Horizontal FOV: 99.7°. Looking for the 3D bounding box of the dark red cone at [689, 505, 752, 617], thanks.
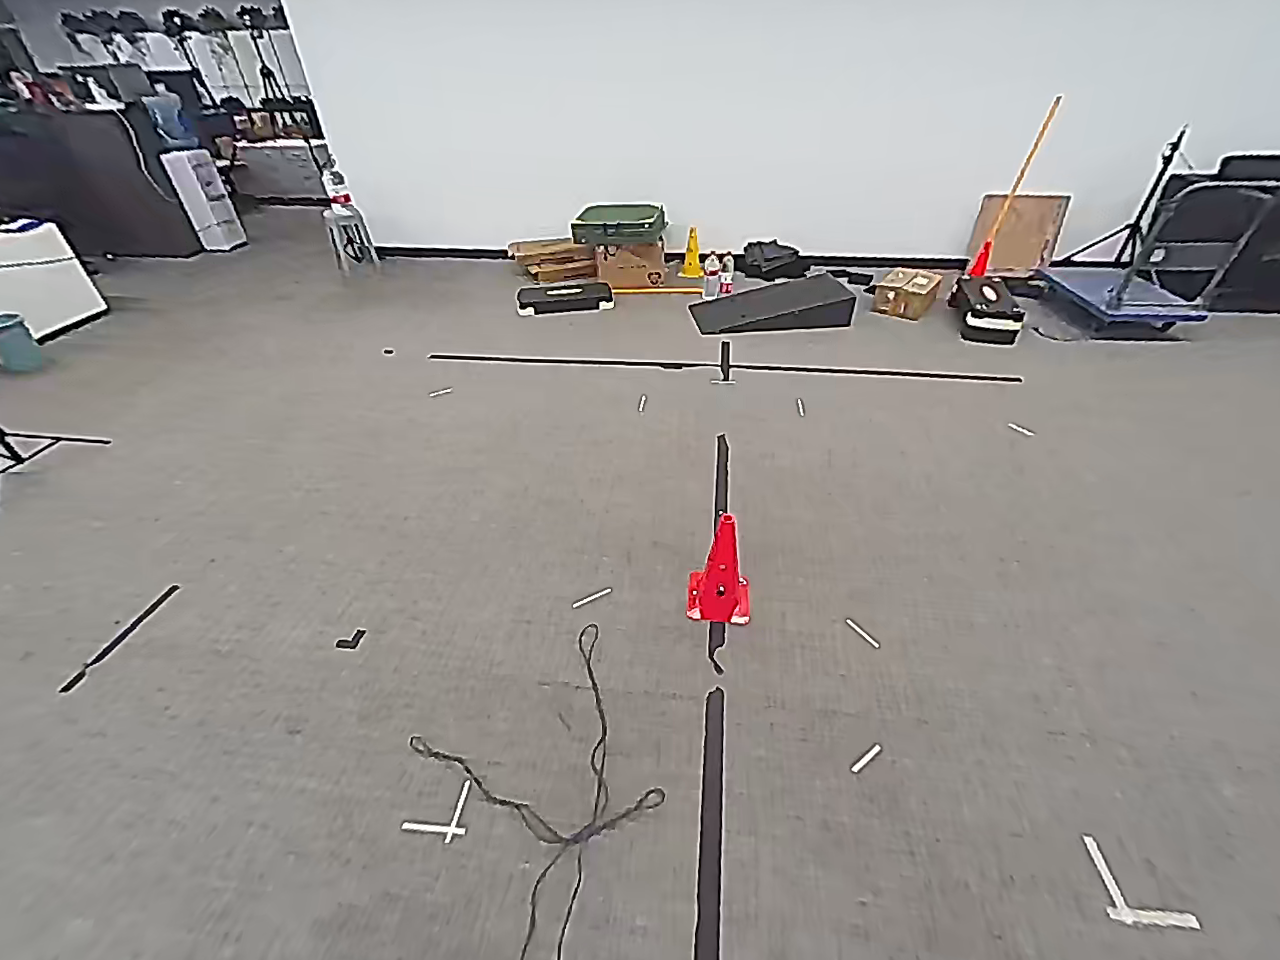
[{"bbox_3d":[0.256,0.232,1.661,0.201,0.394,0.202,3,39,6],"label":"dark red cone"}]
